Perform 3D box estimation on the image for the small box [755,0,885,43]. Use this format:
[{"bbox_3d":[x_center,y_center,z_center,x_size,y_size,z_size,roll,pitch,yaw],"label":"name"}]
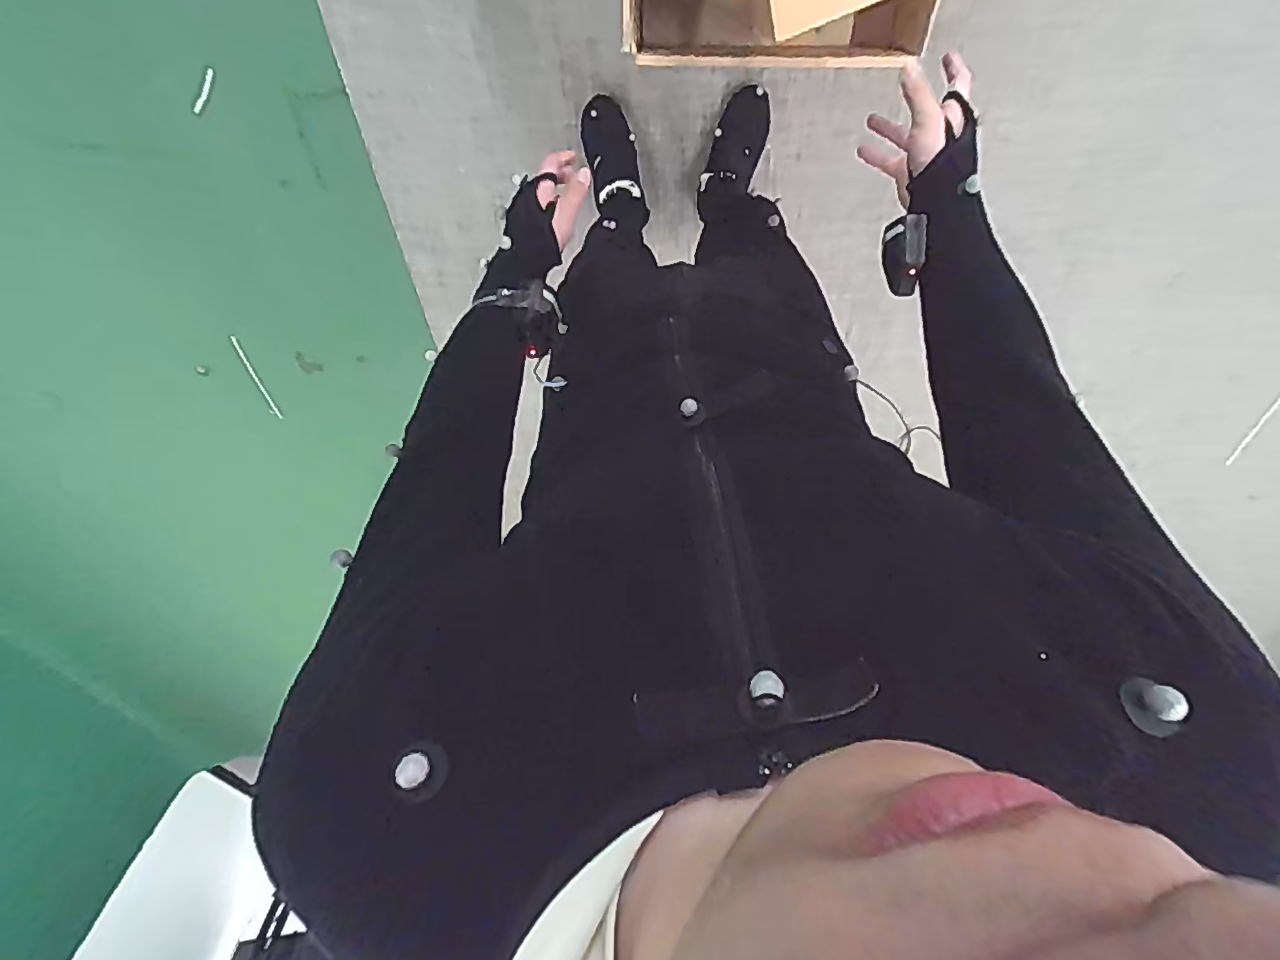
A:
[{"bbox_3d":[0.191,-0.572,0.531,0.168,0.176,0.179,-13,129,16],"label":"small box"}]
